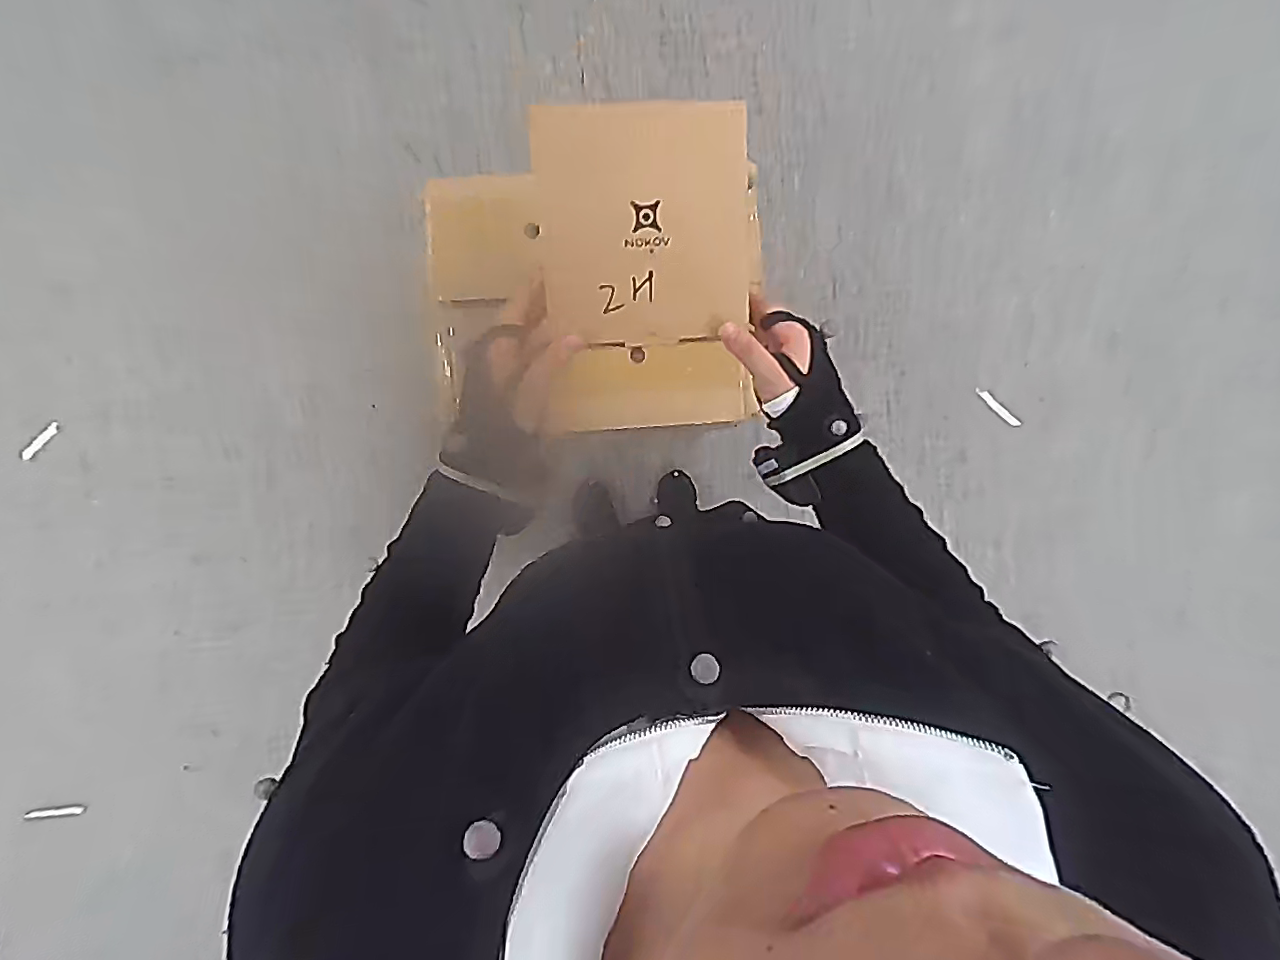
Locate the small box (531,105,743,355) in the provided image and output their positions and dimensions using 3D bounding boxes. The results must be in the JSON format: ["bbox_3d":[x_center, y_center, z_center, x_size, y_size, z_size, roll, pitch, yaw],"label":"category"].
[{"bbox_3d":[-0.008,-0.214,0.506,0.168,0.176,0.179,-4,101,-5],"label":"small box"}]
